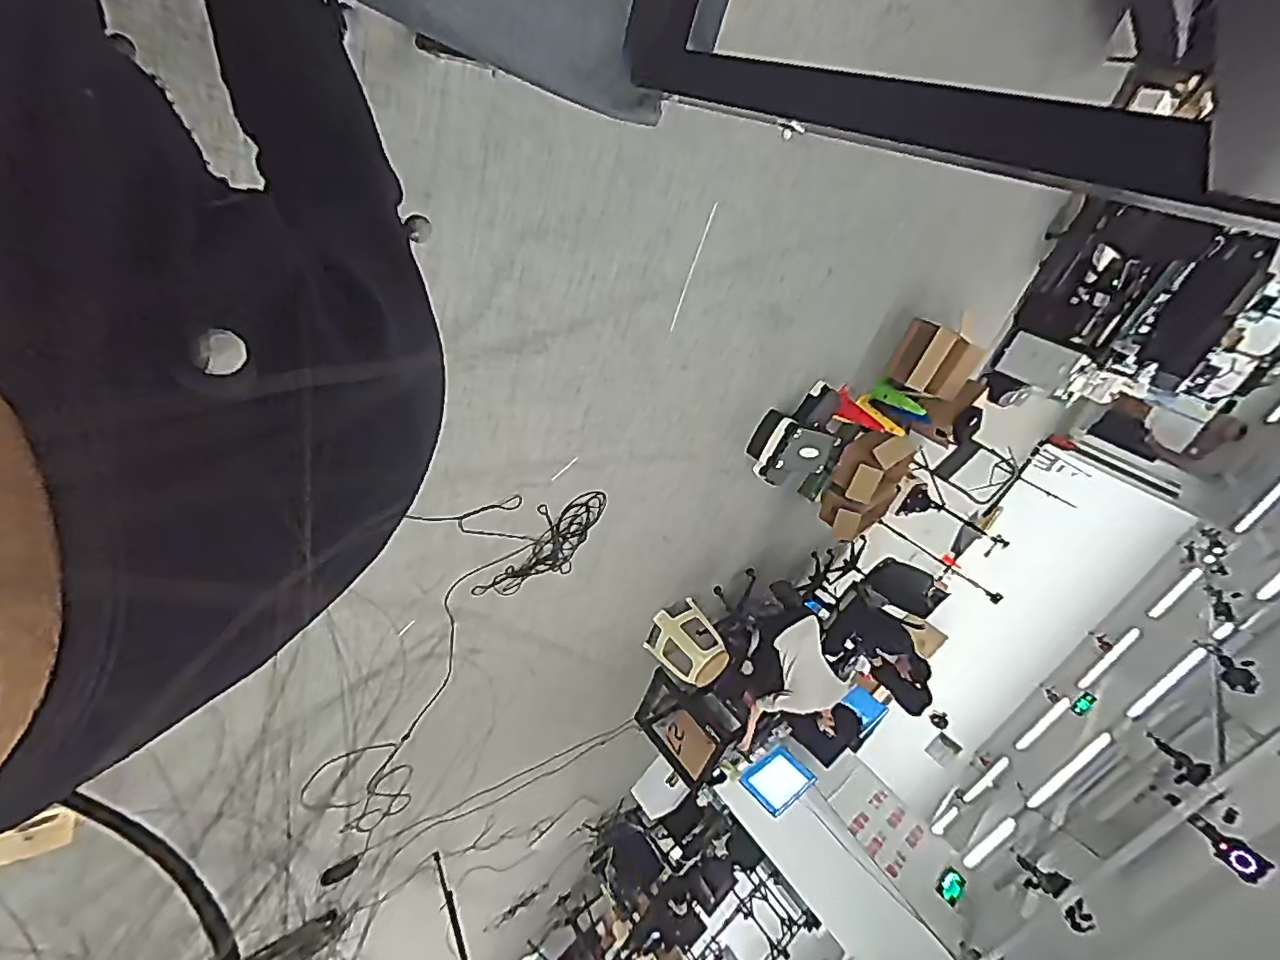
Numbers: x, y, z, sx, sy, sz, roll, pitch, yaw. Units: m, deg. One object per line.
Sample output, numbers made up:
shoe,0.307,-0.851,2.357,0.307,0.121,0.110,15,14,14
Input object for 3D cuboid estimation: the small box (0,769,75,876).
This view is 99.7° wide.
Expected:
small box,-1.644,0.911,1.450,0.168,0.176,0.179,2,121,-48
